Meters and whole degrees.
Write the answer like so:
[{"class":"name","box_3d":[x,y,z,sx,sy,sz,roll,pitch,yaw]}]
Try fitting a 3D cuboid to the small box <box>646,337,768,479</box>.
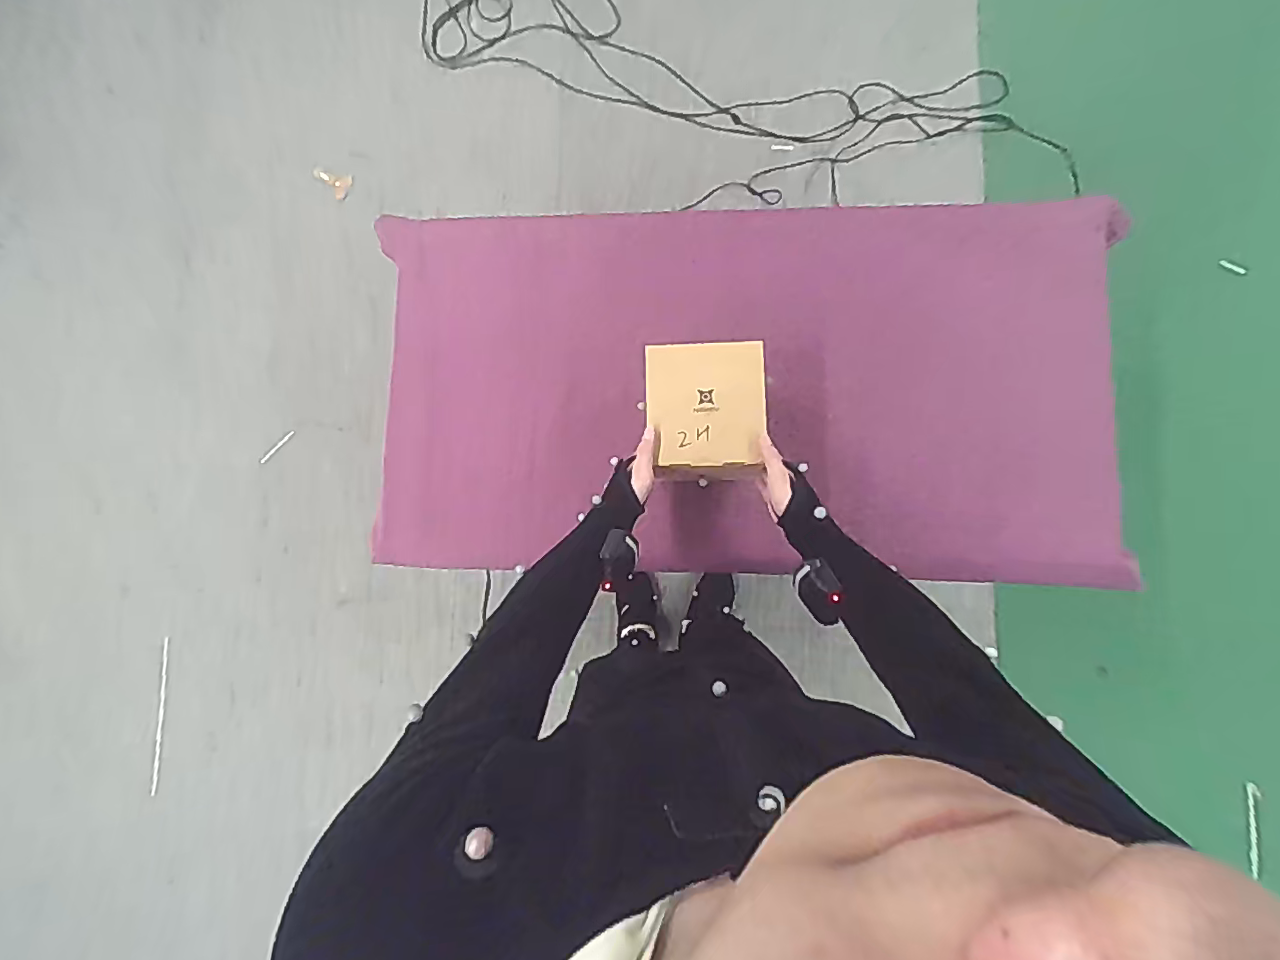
[{"class":"small box","box_3d":[0.096,-0.099,0.810,0.168,0.176,0.179,-1,83,6]}]
